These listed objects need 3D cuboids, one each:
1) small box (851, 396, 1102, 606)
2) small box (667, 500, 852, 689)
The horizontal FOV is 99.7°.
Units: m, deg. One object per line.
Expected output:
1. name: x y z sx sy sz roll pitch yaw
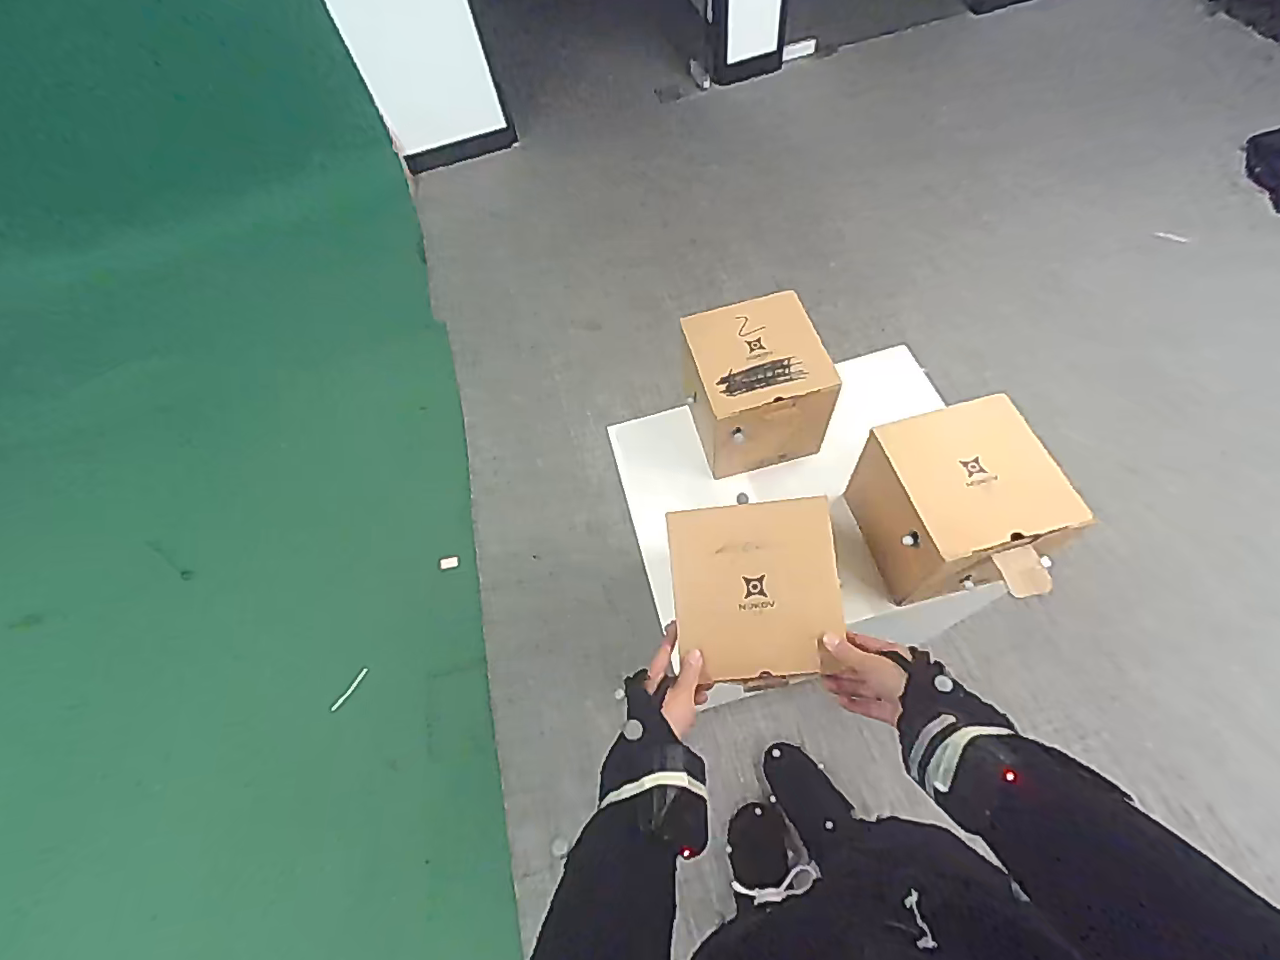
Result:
1. small box: 0.381 0.031 0.658 0.168 0.176 0.179 -15 60 -1
2. small box: 0.123 0.119 0.611 0.168 0.176 0.179 -6 84 4
